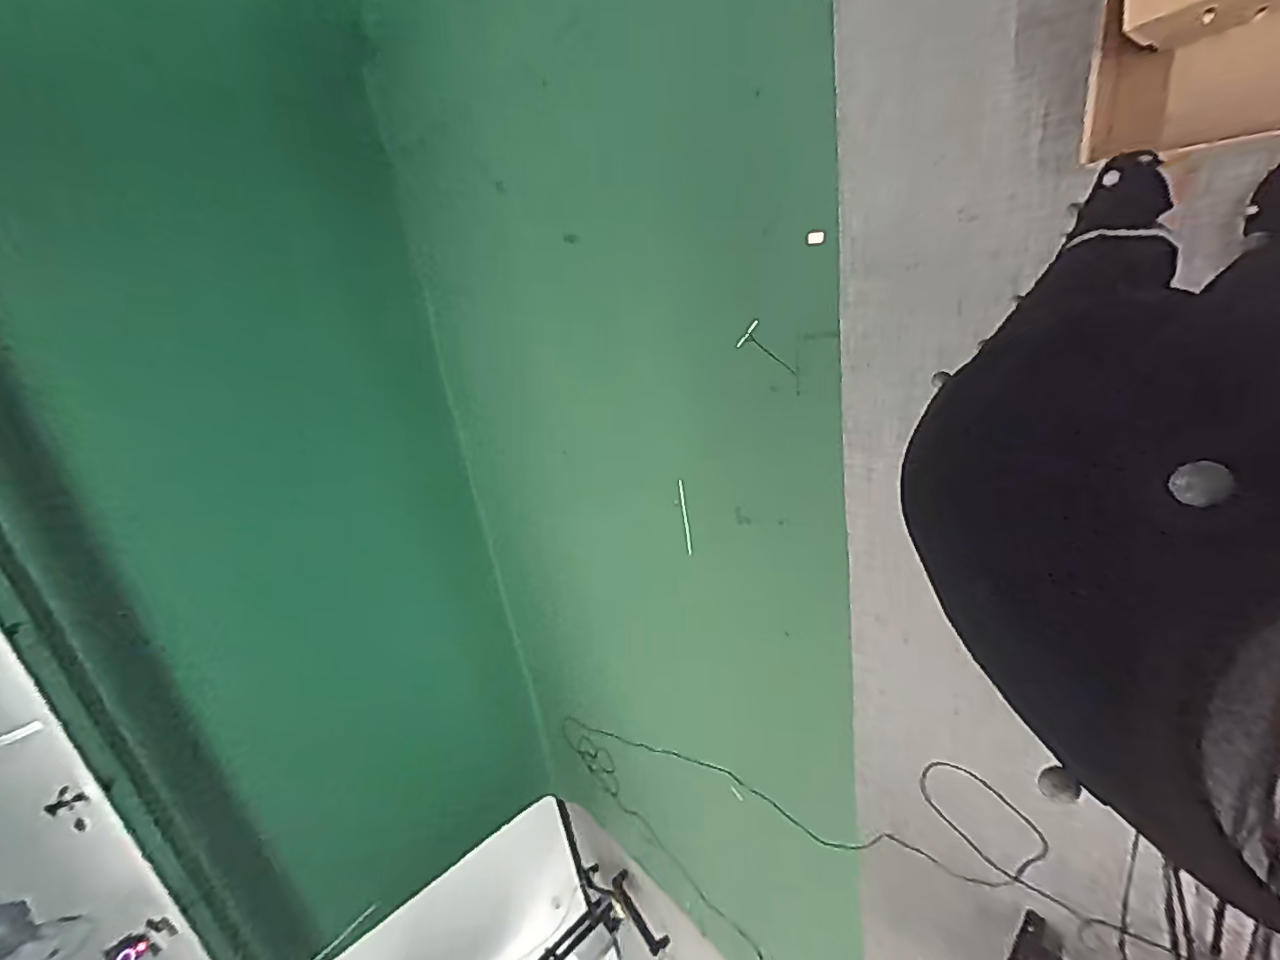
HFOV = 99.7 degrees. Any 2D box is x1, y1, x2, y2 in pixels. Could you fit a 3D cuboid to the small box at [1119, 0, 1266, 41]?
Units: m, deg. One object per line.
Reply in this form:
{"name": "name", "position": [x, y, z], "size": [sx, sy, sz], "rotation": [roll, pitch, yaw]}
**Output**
{"name": "small box", "position": [0.773, -0.723, 0.716], "size": [0.179, 0.176, 0.168], "rotation": [11, 119, 49]}
